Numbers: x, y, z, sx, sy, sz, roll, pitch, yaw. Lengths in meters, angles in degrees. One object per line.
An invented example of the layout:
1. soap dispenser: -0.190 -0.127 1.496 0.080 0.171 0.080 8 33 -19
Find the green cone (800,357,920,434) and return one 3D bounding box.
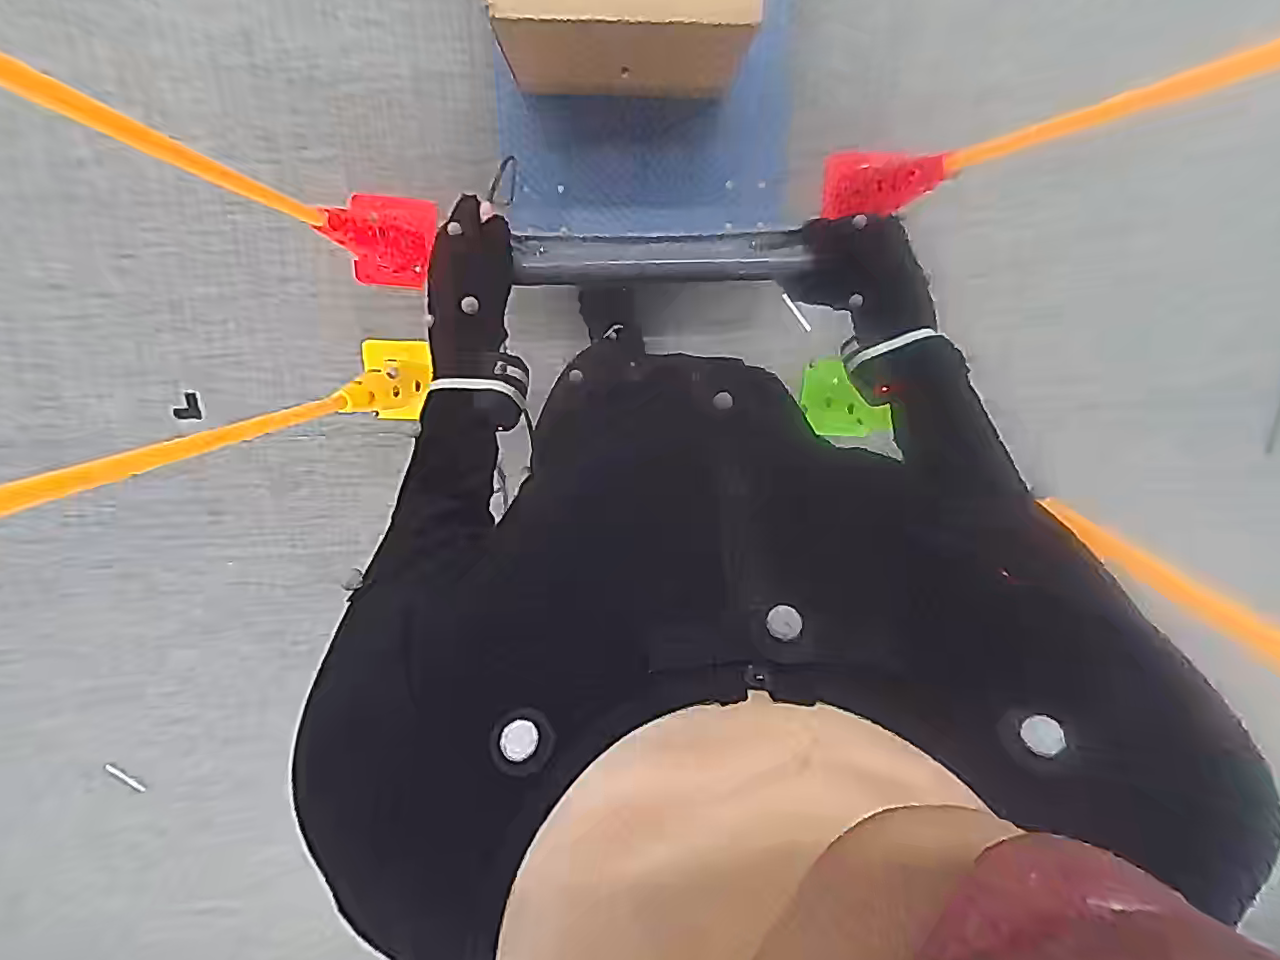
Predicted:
1. green cone: 0.541 -0.173 1.279 0.202 0.368 0.200 2 107 -4

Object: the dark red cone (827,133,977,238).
1. dark red cone: 0.553 -0.632 1.121 0.201 0.394 0.202 -2 107 -4

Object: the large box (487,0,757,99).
1. large box: -0.029 -0.861 0.898 0.408 0.320 0.320 -1 108 -1

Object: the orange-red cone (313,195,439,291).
1. orange-red cone: -0.576 -0.520 1.133 0.198 0.360 0.199 5 105 -5
